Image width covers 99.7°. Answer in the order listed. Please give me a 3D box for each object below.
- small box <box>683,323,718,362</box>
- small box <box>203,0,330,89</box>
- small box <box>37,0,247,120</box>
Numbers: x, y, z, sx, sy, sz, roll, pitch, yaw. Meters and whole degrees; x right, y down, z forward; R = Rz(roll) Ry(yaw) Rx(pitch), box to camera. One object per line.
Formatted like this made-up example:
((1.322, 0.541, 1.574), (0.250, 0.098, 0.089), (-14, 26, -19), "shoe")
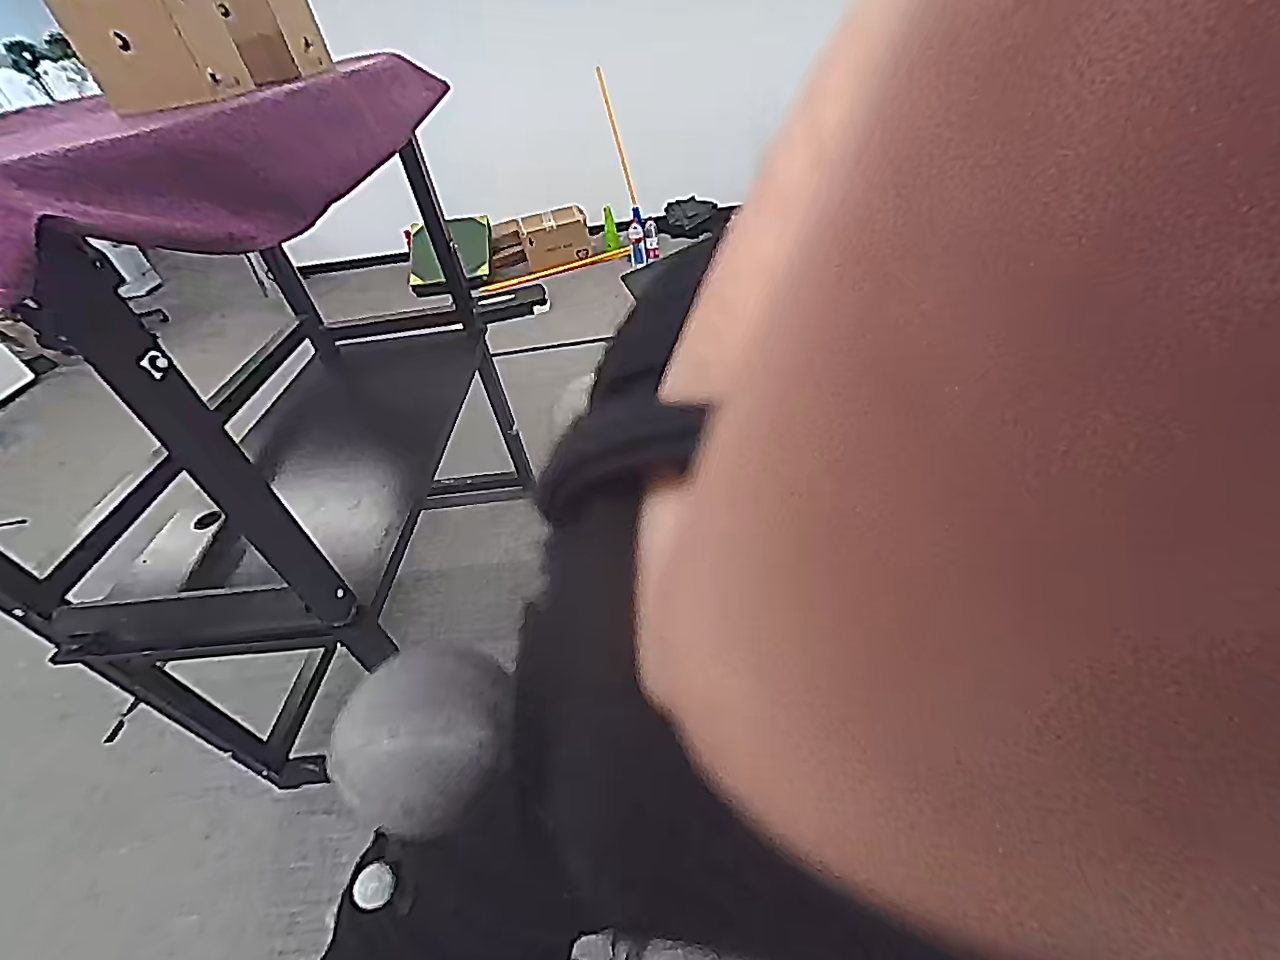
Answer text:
((0.326, -0.756, 2.927), (0.179, 0.176, 0.168), (-5, 42, 3), "small box")
((-0.824, -0.967, 1.172), (0.179, 0.176, 0.168), (-4, 43, 7), "small box")
((-0.831, -0.742, 0.928), (0.179, 0.176, 0.168), (-10, 42, 1), "small box")
